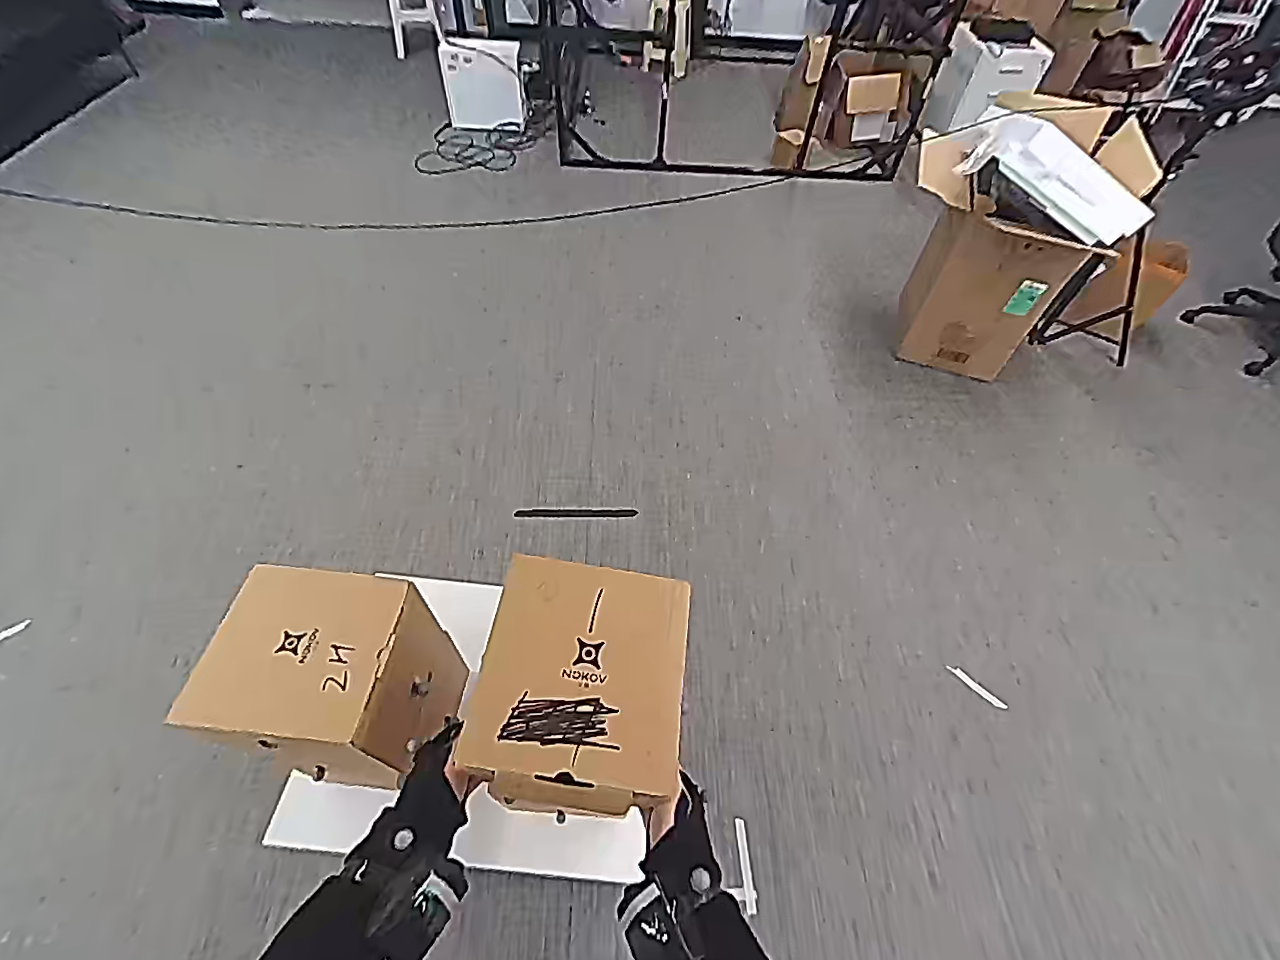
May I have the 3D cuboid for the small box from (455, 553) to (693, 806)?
[{"bbox_3d":[-0.051,0.193,0.505,0.168,0.176,0.179,10,56,-1],"label":"small box"}]

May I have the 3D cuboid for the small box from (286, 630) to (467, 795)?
[{"bbox_3d":[-0.348,0.309,0.737,0.168,0.176,0.179,7,52,2],"label":"small box"}]

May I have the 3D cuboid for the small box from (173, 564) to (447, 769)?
[{"bbox_3d":[-0.340,0.213,0.604,0.179,0.176,0.168,7,54,0],"label":"small box"}]
